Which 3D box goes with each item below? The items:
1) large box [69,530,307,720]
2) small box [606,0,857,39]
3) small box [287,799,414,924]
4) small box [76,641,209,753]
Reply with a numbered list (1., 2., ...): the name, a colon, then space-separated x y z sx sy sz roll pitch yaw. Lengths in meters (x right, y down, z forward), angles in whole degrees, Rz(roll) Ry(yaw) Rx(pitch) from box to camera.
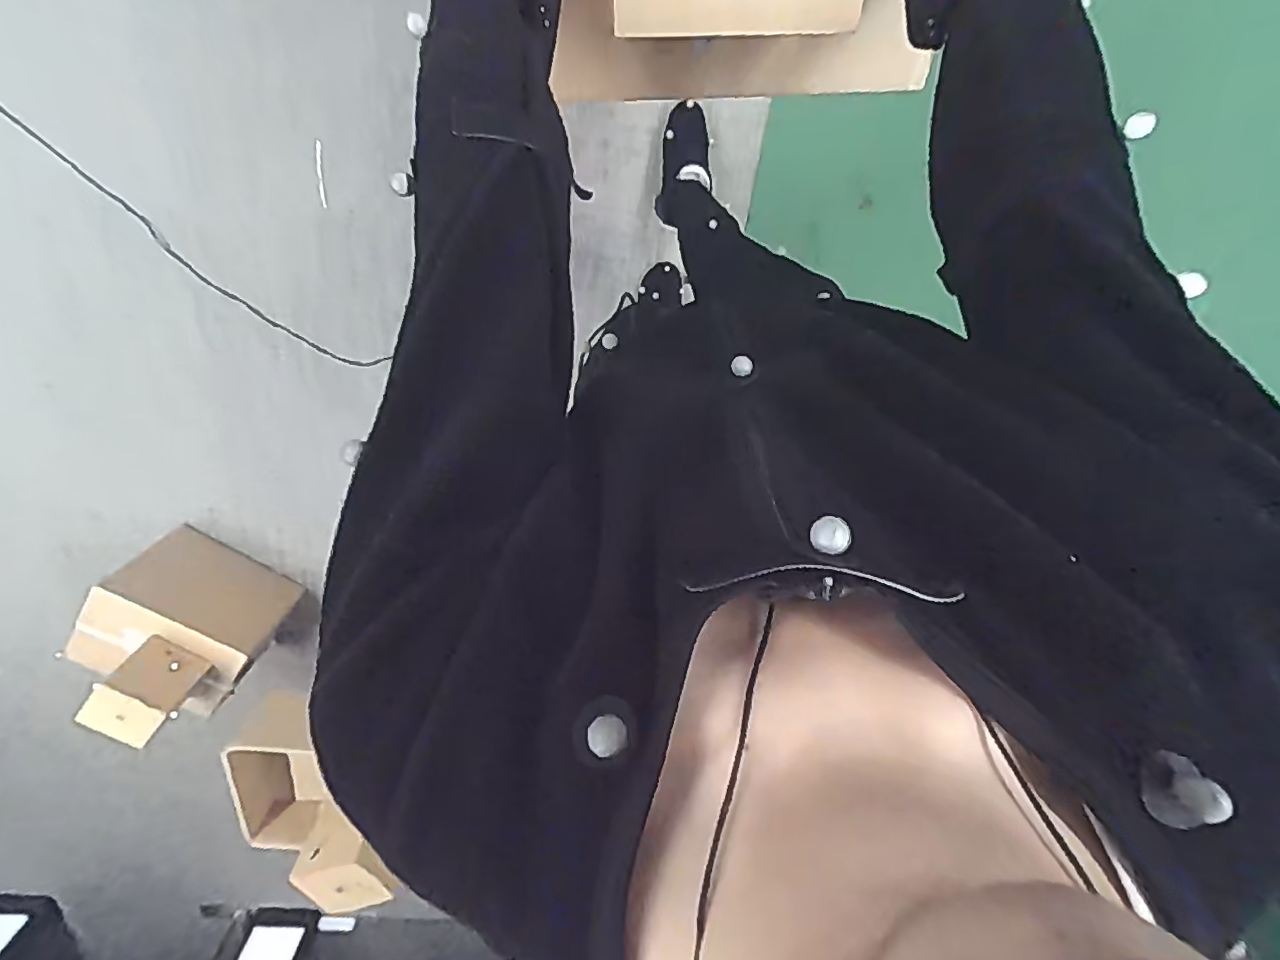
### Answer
1. large box: -1.316 0.425 1.613 0.408 0.320 0.320 36 110 -15
2. small box: 0.055 -0.412 0.360 0.168 0.176 0.179 -2 133 -1
3. small box: -0.673 0.898 1.281 0.179 0.176 0.168 -19 115 7
4. small box: -1.285 0.561 1.409 0.168 0.176 0.179 40 110 -17
